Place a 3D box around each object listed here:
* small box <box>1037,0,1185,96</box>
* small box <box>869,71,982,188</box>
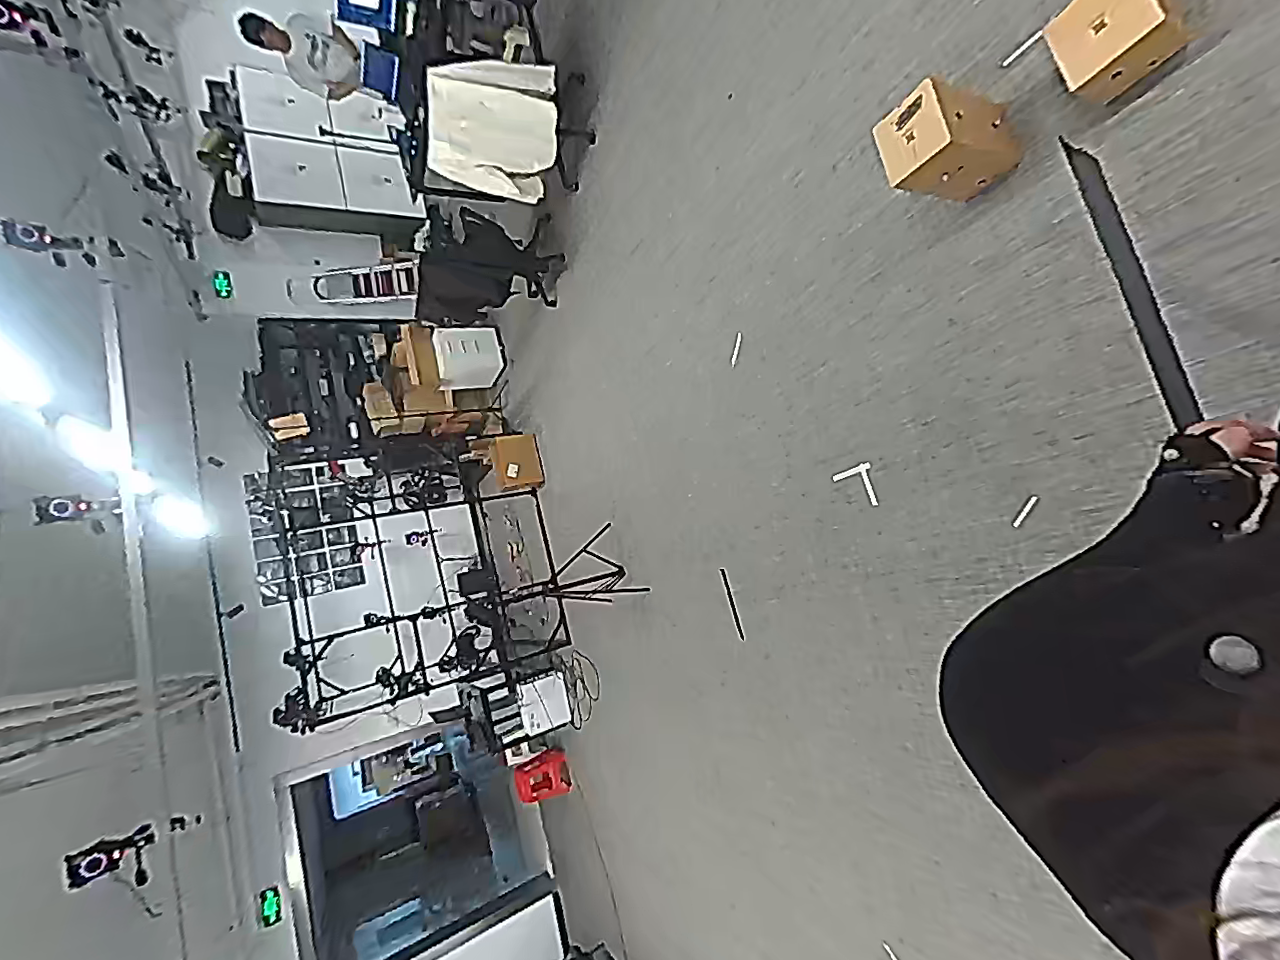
[{"bbox_3d":[1.017,-0.973,1.168,0.168,0.176,0.179,-32,71,57],"label":"small box"},{"bbox_3d":[0.720,-0.872,1.366,0.168,0.176,0.179,-25,78,59],"label":"small box"}]
